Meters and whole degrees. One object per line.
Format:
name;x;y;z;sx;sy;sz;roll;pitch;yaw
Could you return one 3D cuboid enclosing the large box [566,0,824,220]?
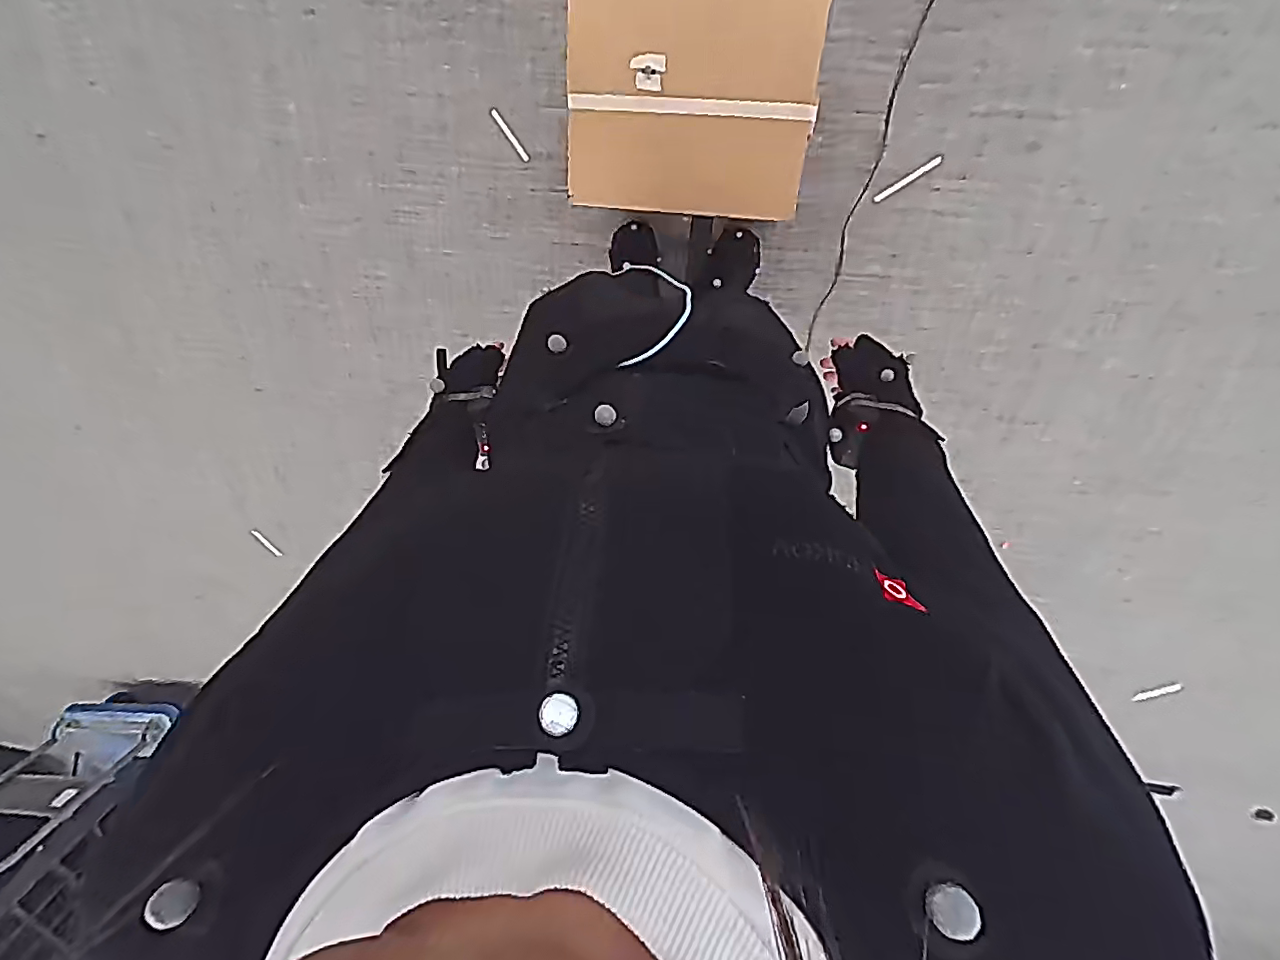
large box;0.098;-0.676;1.015;0.408;0.320;0.320;8;117;7
